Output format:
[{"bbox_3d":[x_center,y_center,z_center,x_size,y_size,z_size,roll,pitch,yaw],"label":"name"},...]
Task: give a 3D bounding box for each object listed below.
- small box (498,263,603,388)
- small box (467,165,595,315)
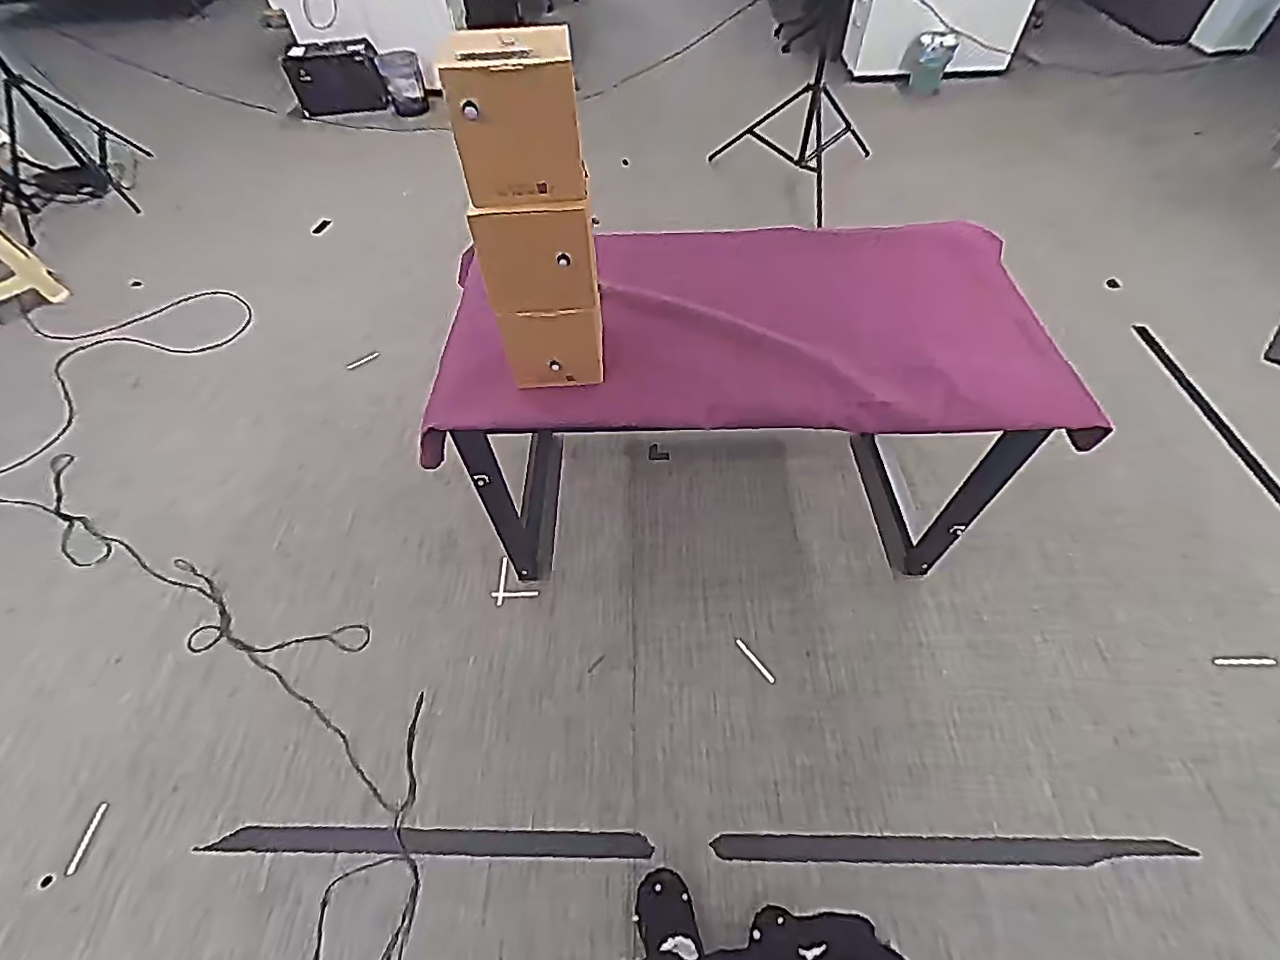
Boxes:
[{"bbox_3d":[-0.161,-0.296,1.024,0.168,0.176,0.179,-3,54,0],"label":"small box"},{"bbox_3d":[-0.167,-0.392,0.894,0.179,0.176,0.168,-5,52,-1],"label":"small box"}]
